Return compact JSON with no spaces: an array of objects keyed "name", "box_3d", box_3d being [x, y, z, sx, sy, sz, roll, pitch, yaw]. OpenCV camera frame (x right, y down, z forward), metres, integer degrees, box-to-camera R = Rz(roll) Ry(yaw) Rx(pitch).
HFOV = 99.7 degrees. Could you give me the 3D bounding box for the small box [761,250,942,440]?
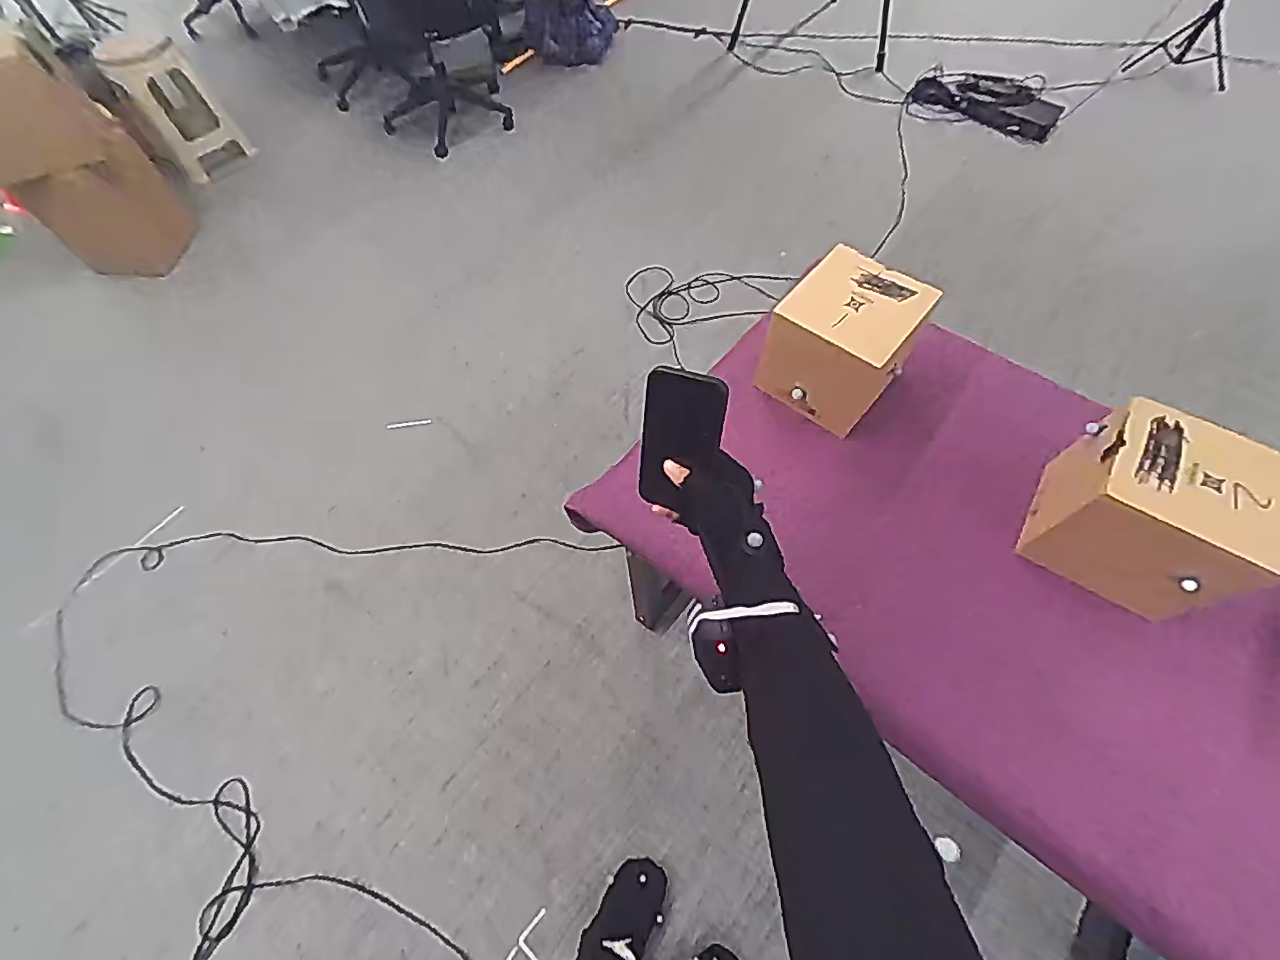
[{"name":"small box","box_3d":[0.300,-0.196,0.806,0.168,0.176,0.179,37,69,20]}]
